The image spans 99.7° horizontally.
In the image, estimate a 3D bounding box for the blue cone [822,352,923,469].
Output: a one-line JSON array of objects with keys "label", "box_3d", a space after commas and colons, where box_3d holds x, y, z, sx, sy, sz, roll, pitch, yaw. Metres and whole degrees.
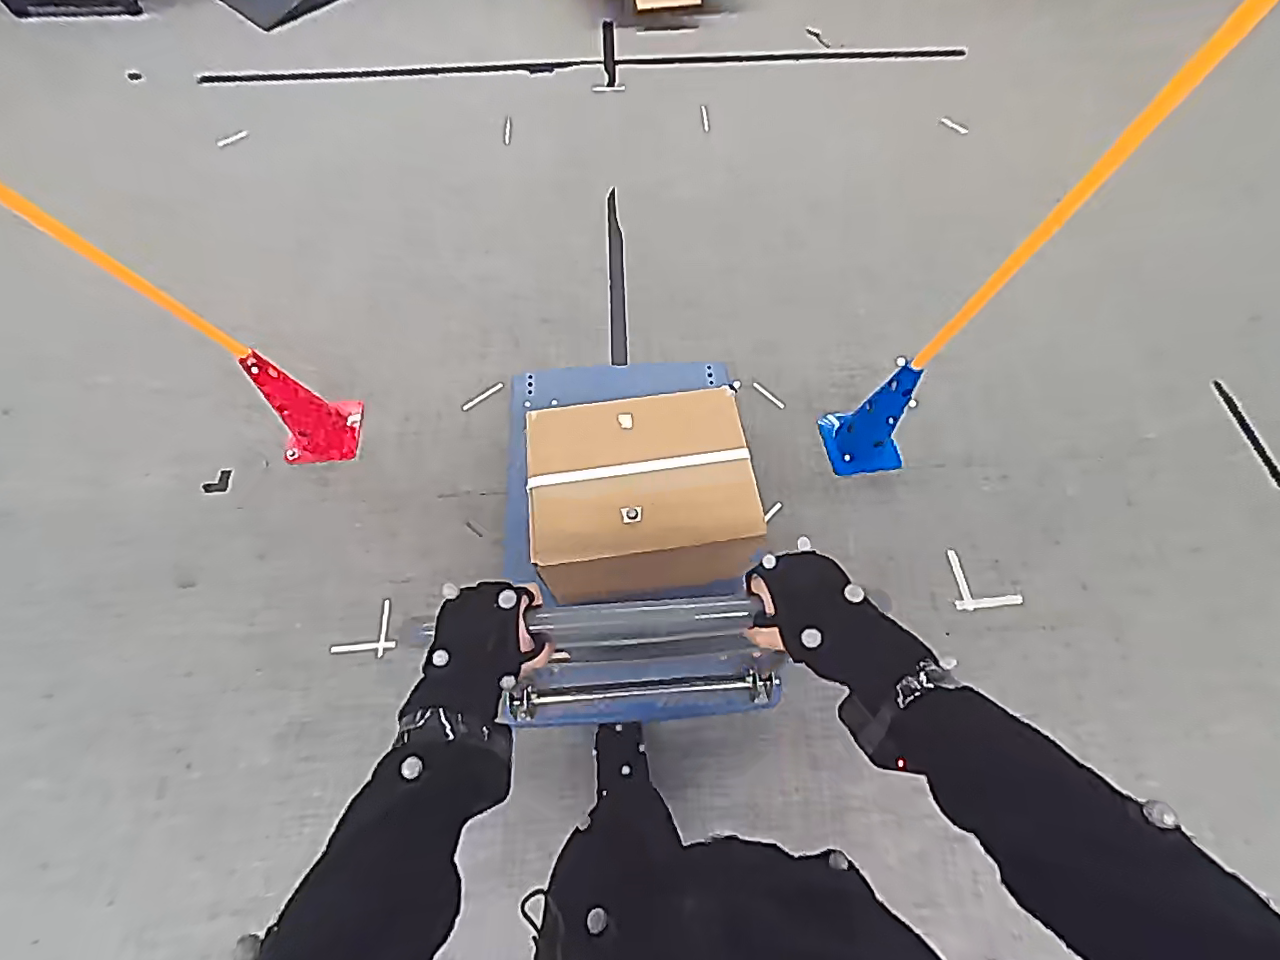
[{"label": "blue cone", "box_3d": [0.637, -0.191, 1.409, 0.193, 0.380, 0.192, -6, 64, -4]}]
